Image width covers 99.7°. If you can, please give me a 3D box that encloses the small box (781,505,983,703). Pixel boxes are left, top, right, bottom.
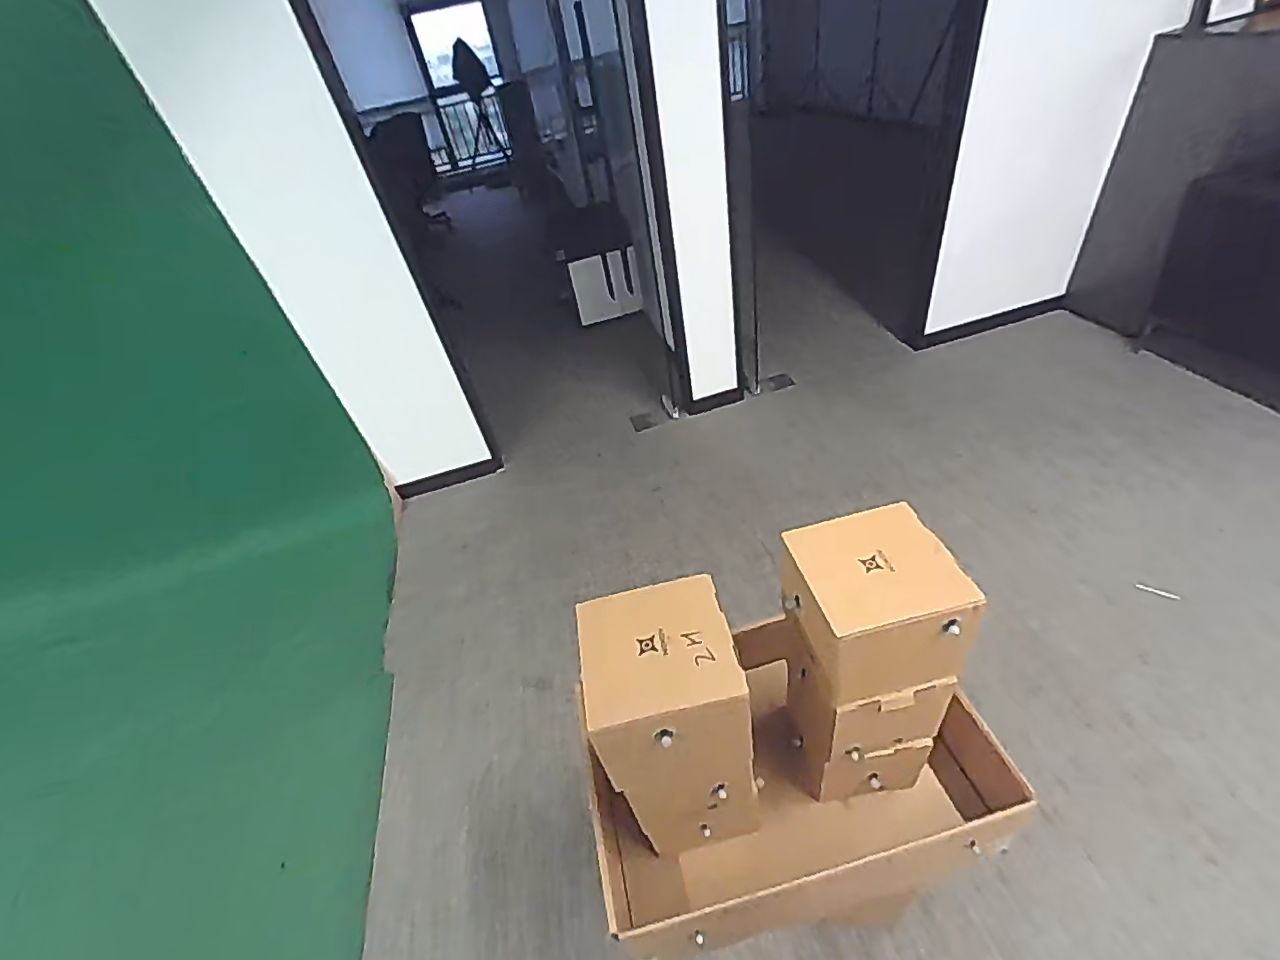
[{"bbox_3d":[0.297,0.163,0.704,0.179,0.176,0.168,-14,41,-2],"label":"small box"}]

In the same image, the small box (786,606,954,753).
[{"bbox_3d":[0.328,0.284,0.809,0.168,0.176,0.179,-14,40,-1],"label":"small box"}]

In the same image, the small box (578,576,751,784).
[{"bbox_3d":[0.031,0.250,0.669,0.179,0.176,0.168,-12,41,-1],"label":"small box"}]

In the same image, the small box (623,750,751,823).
[{"bbox_3d":[0.056,0.367,0.783,0.168,0.176,0.179,-14,40,-3],"label":"small box"}]
